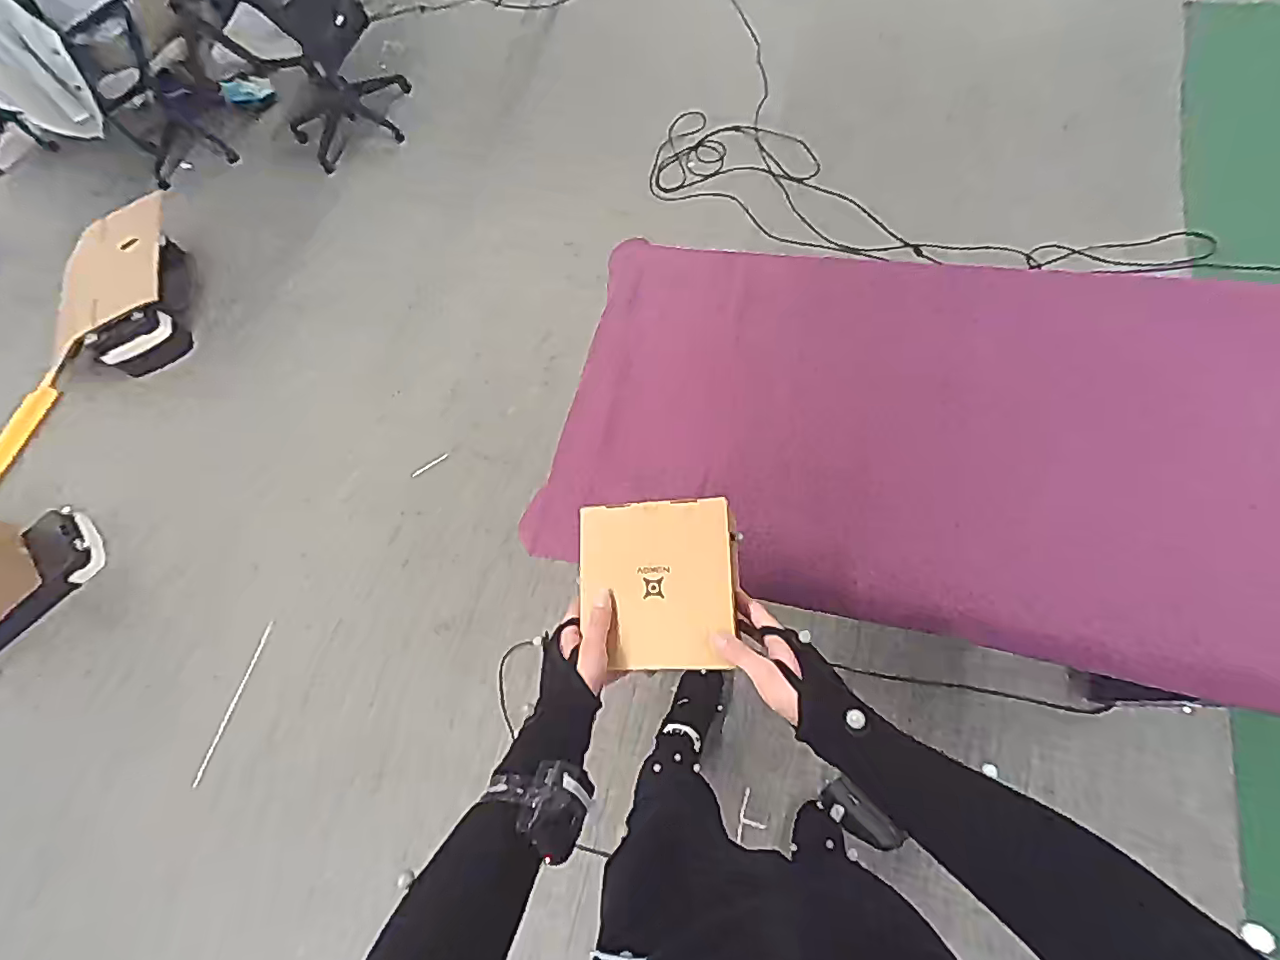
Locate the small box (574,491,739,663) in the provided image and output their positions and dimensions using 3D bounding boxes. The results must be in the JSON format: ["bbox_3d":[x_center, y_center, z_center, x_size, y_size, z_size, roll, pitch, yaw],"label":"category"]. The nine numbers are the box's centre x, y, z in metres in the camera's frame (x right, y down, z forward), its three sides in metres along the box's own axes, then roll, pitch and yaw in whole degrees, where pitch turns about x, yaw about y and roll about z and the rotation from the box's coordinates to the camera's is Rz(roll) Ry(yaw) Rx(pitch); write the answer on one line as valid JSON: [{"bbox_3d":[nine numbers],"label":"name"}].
[{"bbox_3d":[0.027,0.118,0.645,0.168,0.176,0.179,-5,76,13],"label":"small box"}]
